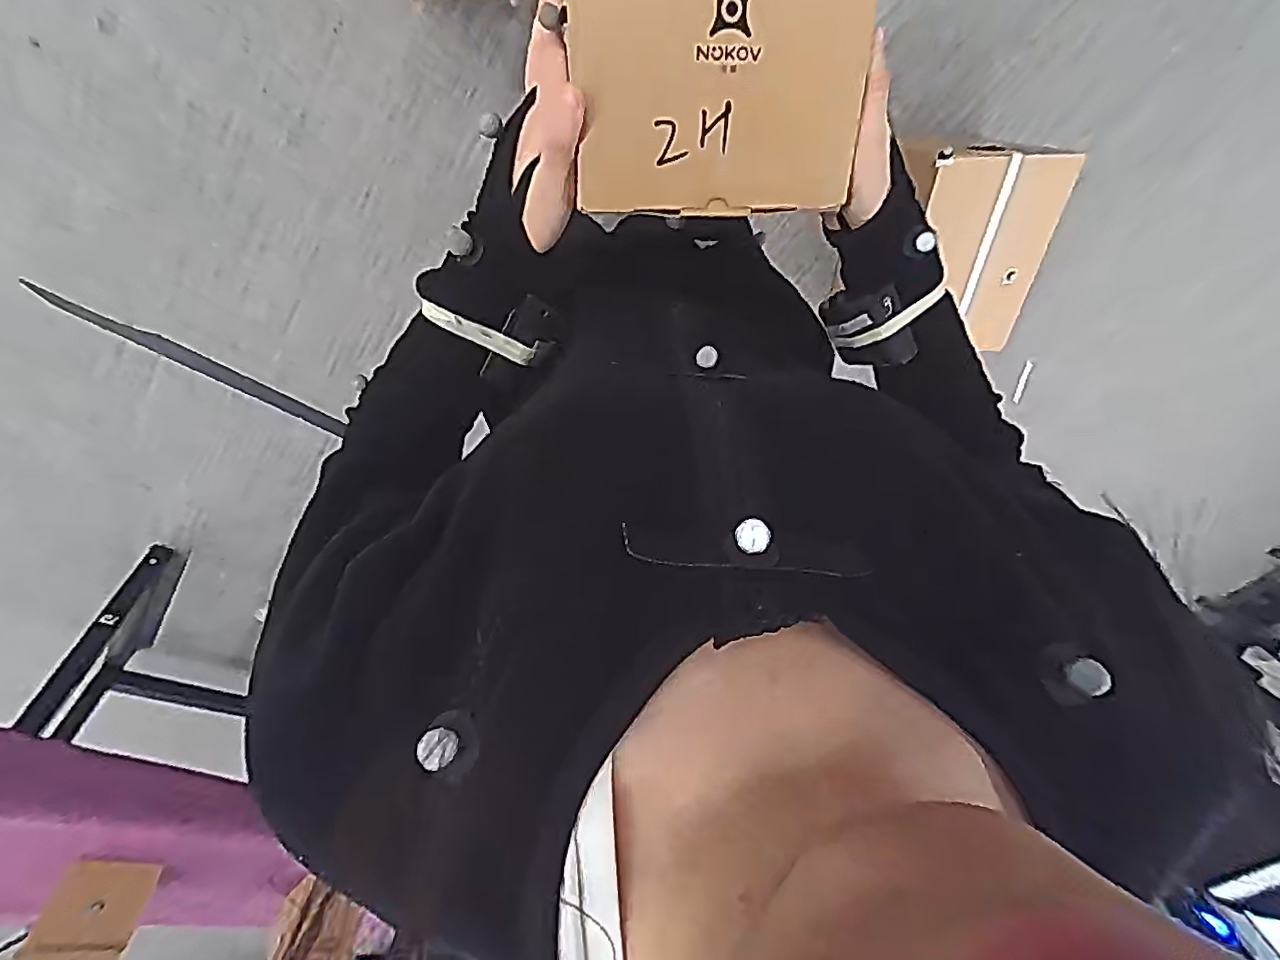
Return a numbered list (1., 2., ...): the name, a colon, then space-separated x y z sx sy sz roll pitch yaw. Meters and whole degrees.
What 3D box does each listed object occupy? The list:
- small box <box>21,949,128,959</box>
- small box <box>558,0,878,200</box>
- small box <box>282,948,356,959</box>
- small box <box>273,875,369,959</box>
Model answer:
1. small box: -1.198 1.076 1.088 0.179 0.176 0.168 24 120 -26
2. small box: 0.034 -0.282 0.352 0.168 0.176 0.179 -4 119 -8
3. small box: -0.820 1.276 1.315 0.168 0.176 0.179 28 116 -29
4. small box: -0.850 1.187 1.448 0.168 0.176 0.179 29 118 -28
